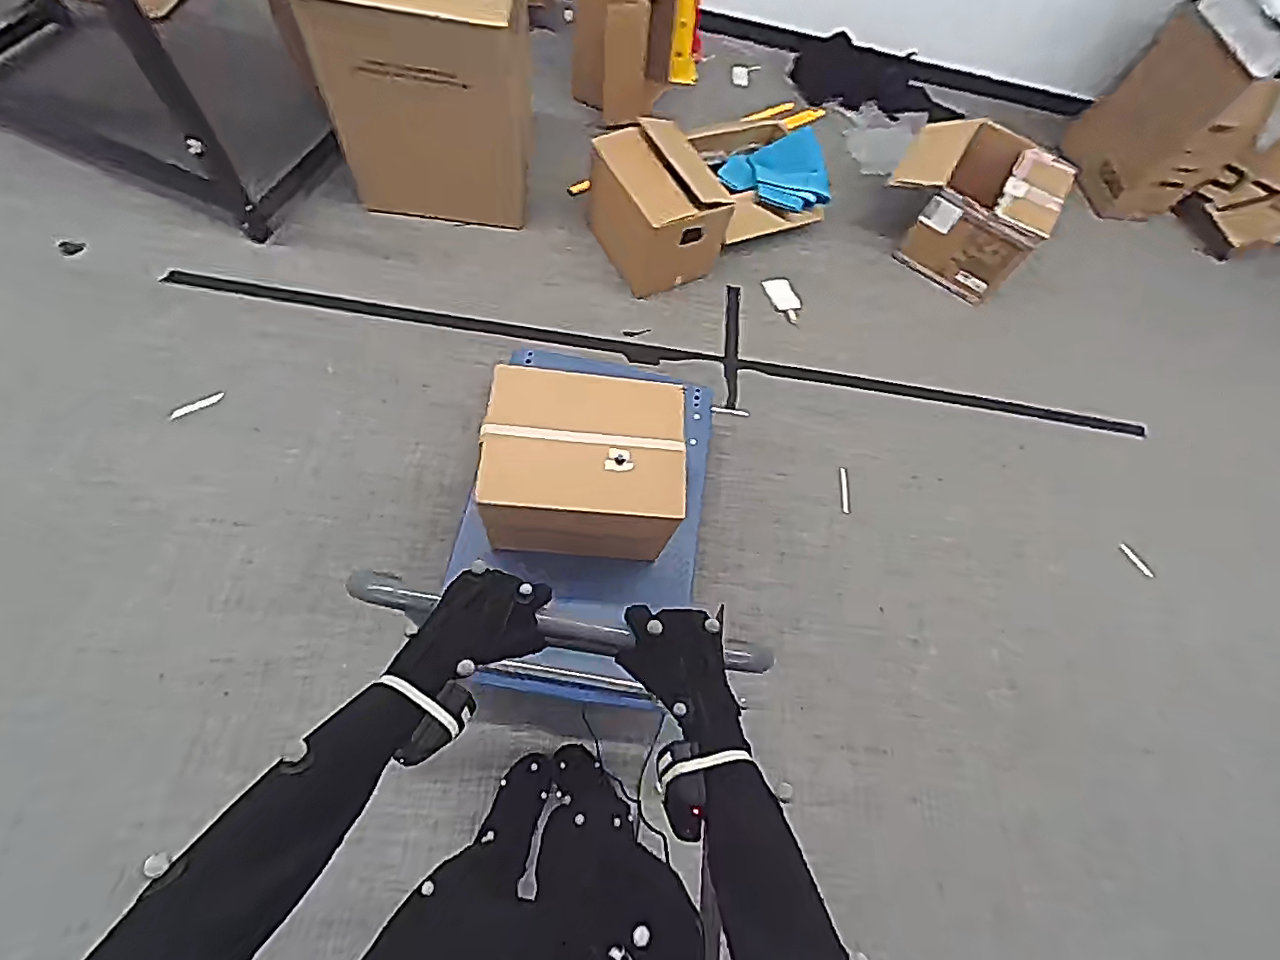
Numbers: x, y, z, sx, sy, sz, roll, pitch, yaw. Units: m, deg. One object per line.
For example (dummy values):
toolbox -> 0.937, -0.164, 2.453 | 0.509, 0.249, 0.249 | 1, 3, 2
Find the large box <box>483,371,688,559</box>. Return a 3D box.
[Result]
large box -> -0.126, -0.017, 1.235 | 0.408, 0.320, 0.320 | 5, 66, -8
